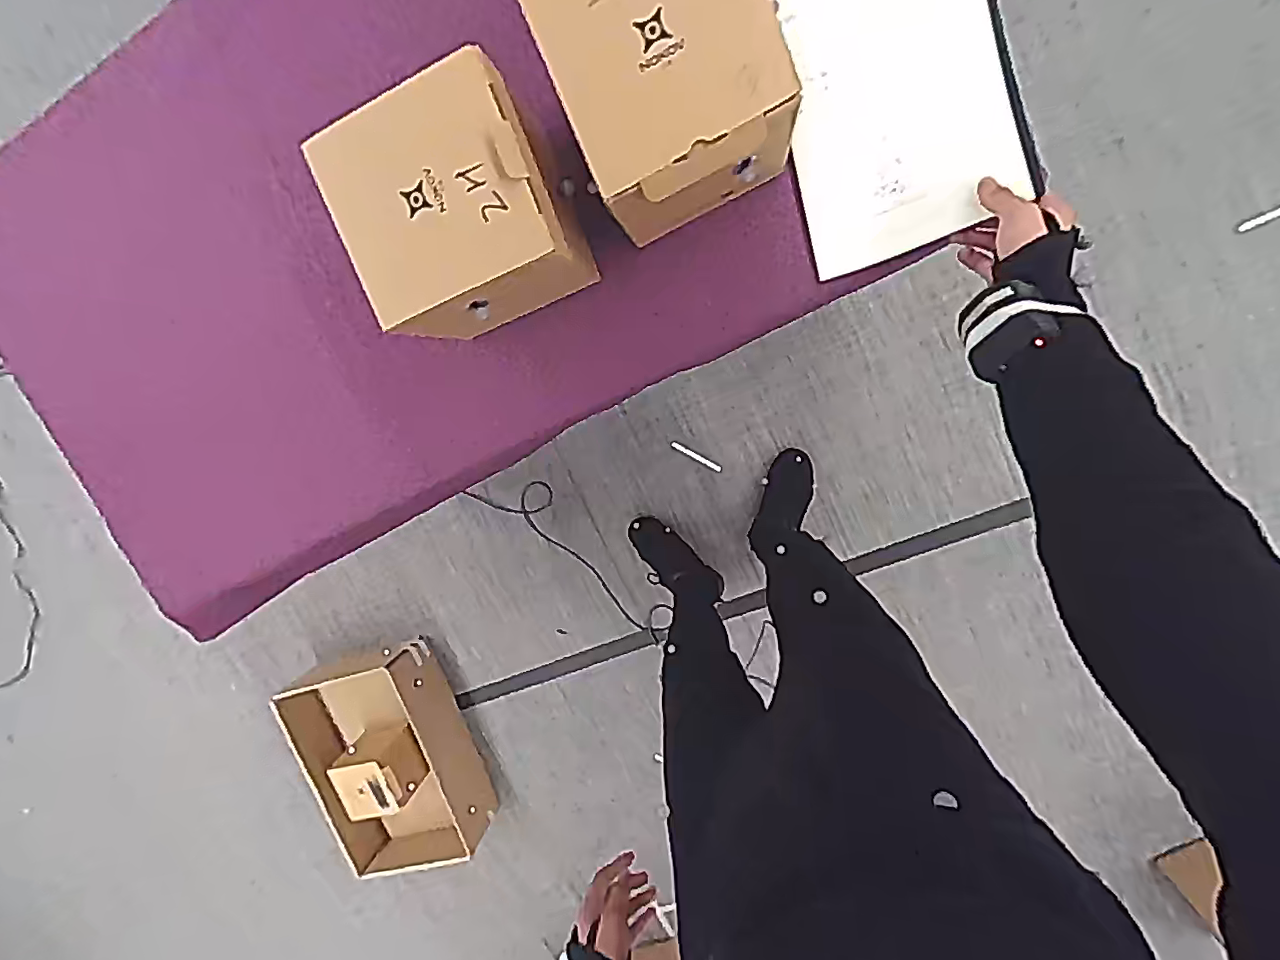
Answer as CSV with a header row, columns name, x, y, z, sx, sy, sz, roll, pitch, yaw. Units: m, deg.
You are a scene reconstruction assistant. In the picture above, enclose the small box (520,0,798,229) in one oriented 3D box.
name,x,y,z,sx,sy,sz,roll,pitch,yaw
small box,0.023,-0.345,0.474,0.168,0.176,0.179,-22,97,12
